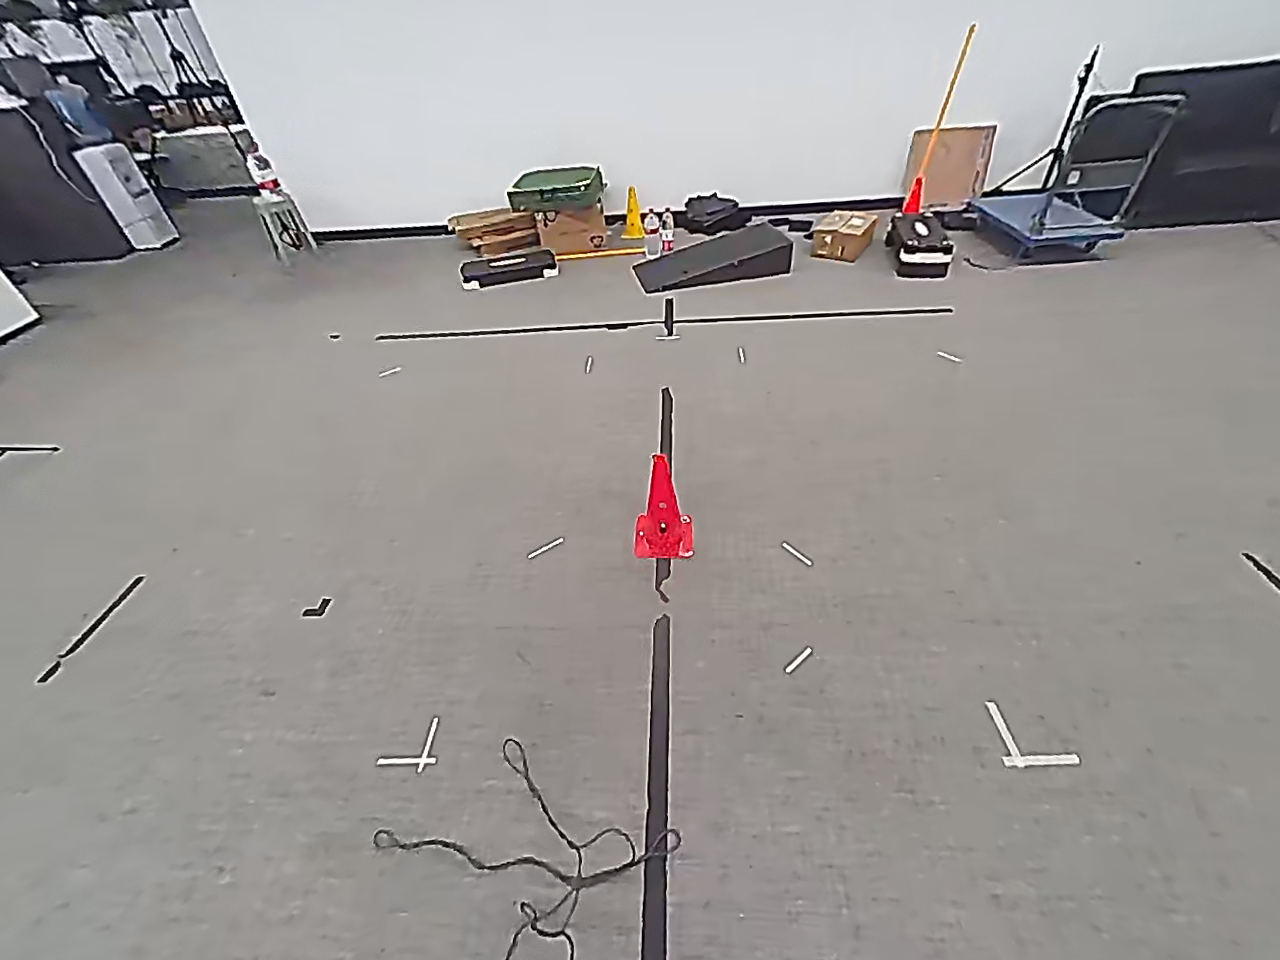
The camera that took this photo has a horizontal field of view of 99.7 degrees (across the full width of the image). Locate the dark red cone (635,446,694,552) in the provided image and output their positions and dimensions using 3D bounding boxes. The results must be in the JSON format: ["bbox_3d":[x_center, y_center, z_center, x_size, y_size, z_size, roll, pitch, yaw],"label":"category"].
[{"bbox_3d":[0.070,0.048,1.769,0.201,0.394,0.202,-3,42,4],"label":"dark red cone"}]
